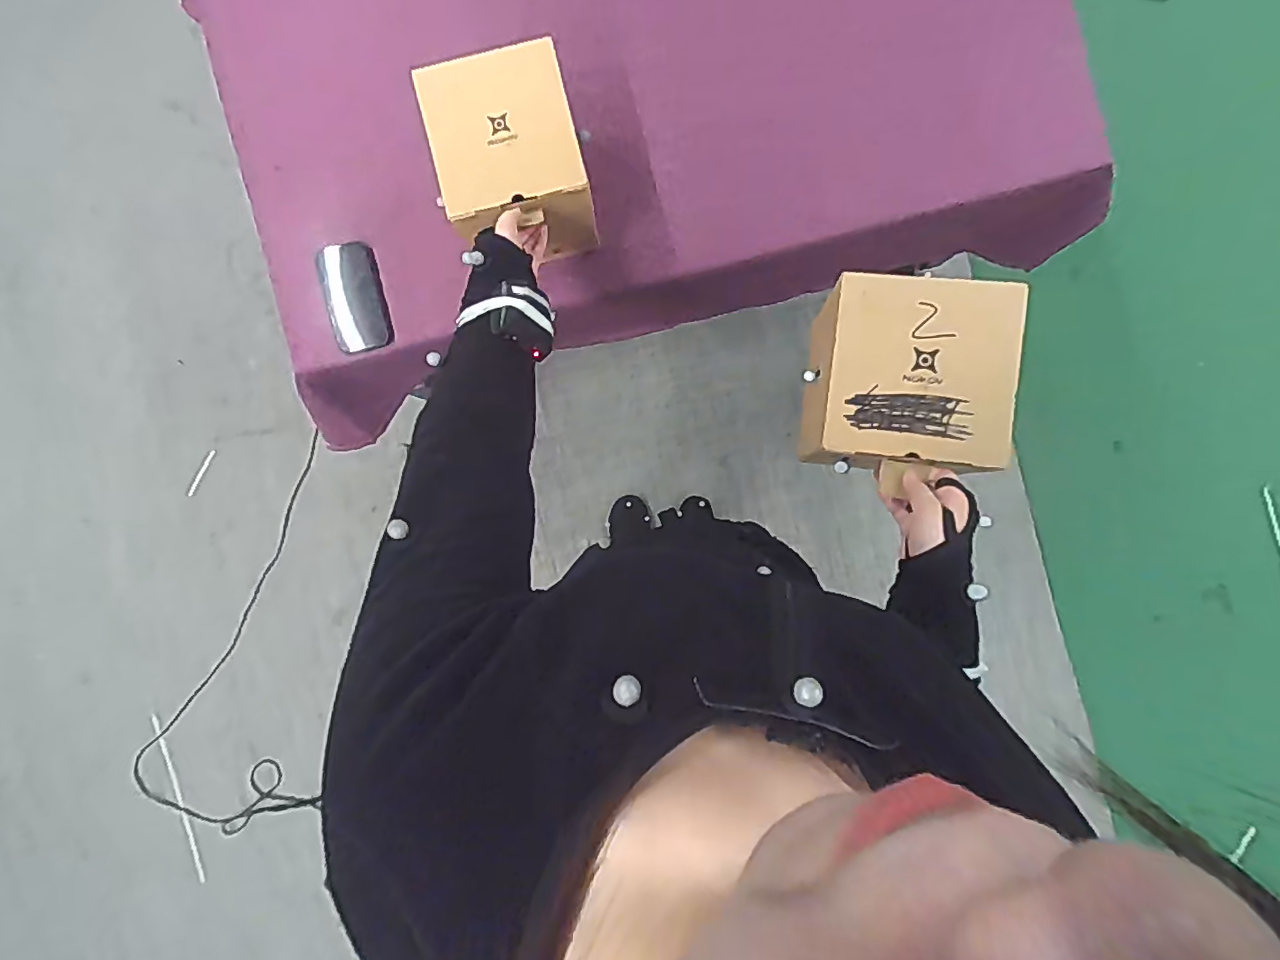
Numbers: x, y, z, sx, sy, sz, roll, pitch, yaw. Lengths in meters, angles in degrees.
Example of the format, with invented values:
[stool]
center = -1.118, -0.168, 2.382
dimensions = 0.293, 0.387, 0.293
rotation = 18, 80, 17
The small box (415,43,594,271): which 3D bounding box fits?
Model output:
[small box]
center = -0.161, -0.399, 0.697
dimensions = 0.168, 0.176, 0.179
rotation = -14, 91, 0
